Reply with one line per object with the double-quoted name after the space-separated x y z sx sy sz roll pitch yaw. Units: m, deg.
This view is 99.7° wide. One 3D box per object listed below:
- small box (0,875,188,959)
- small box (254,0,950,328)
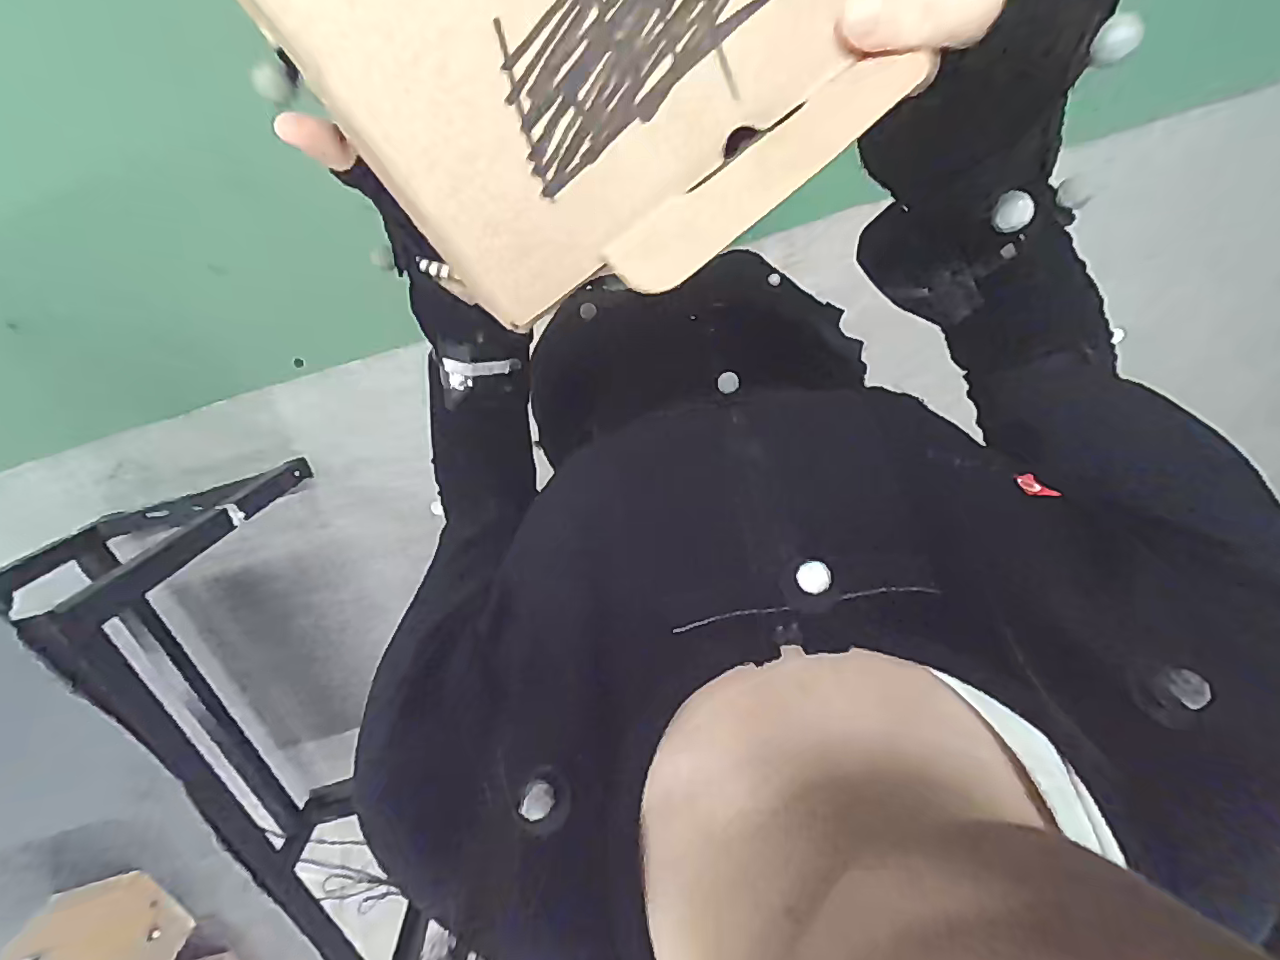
-0.915 0.801 0.888 0.179 0.176 0.168 -17 111 2 "small box"
-0.038 -0.179 0.198 0.168 0.176 0.179 -40 114 -3 "small box"
